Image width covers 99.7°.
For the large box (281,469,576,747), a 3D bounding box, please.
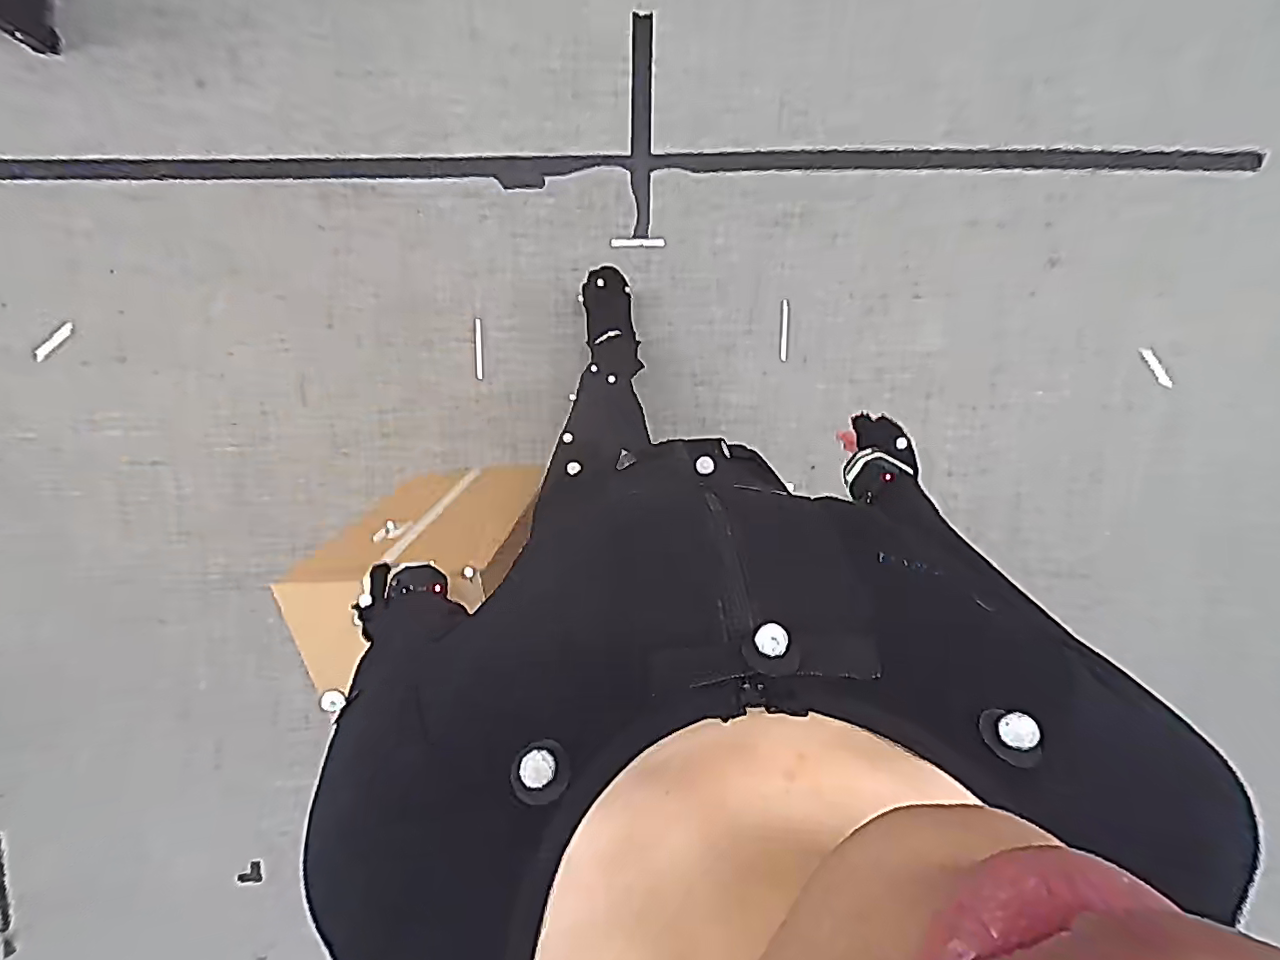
[{"bbox_3d":[-0.322,0.204,0.975,0.320,0.408,0.320,-6,112,9],"label":"large box"}]
